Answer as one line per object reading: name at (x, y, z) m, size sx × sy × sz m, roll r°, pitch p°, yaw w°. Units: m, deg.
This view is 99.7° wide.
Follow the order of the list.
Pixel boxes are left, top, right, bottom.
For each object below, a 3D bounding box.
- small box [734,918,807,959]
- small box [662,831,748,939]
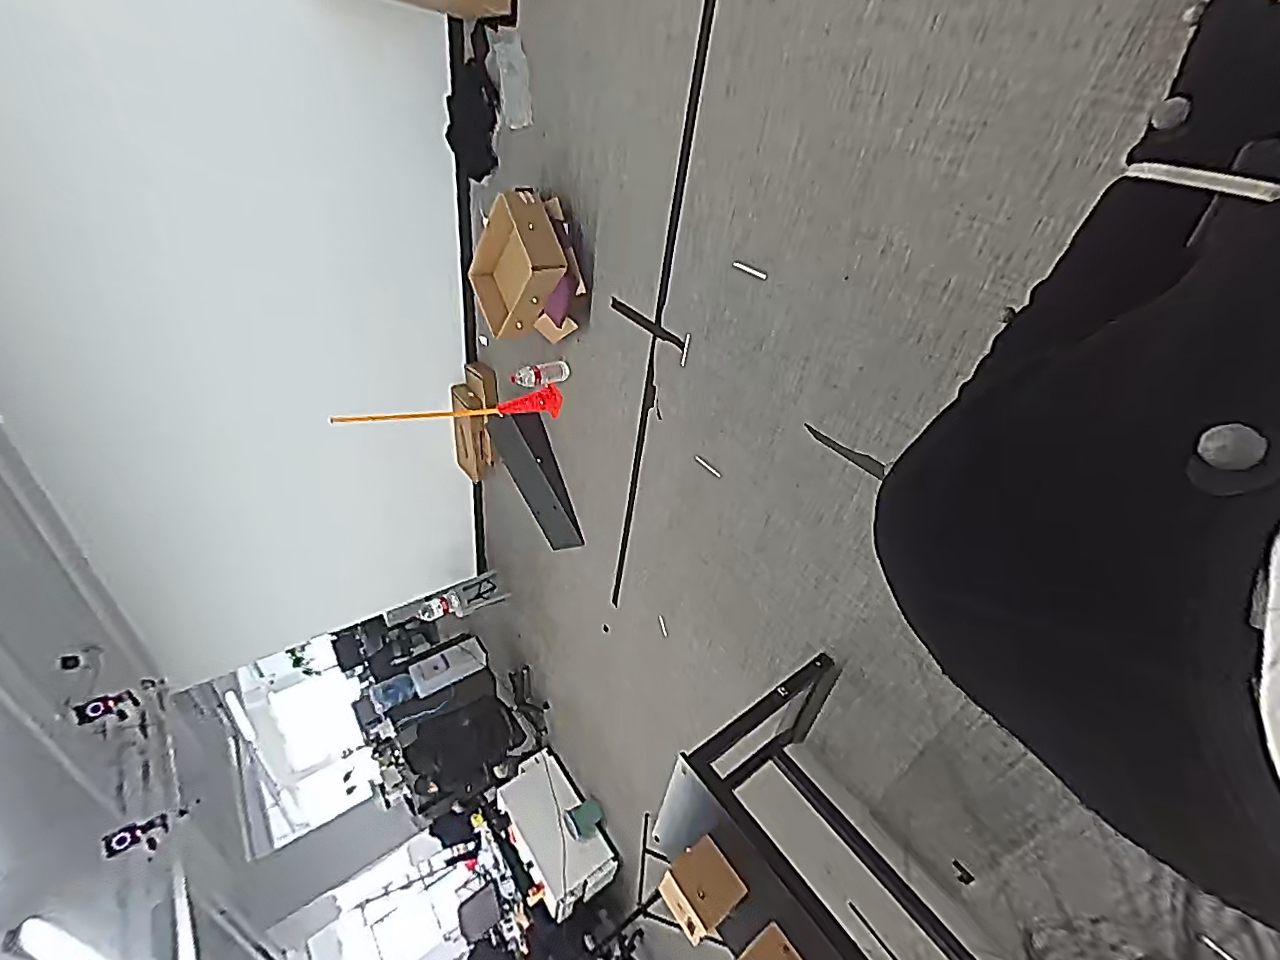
small box at (0.352, 1.336, 1.456) m, size 0.168 × 0.176 × 0.179 m, roll 43°, pitch 138°, yaw 36°
small box at (0.195, 1.203, 1.615) m, size 0.179 × 0.176 × 0.168 m, roll 44°, pitch 138°, yaw 35°
